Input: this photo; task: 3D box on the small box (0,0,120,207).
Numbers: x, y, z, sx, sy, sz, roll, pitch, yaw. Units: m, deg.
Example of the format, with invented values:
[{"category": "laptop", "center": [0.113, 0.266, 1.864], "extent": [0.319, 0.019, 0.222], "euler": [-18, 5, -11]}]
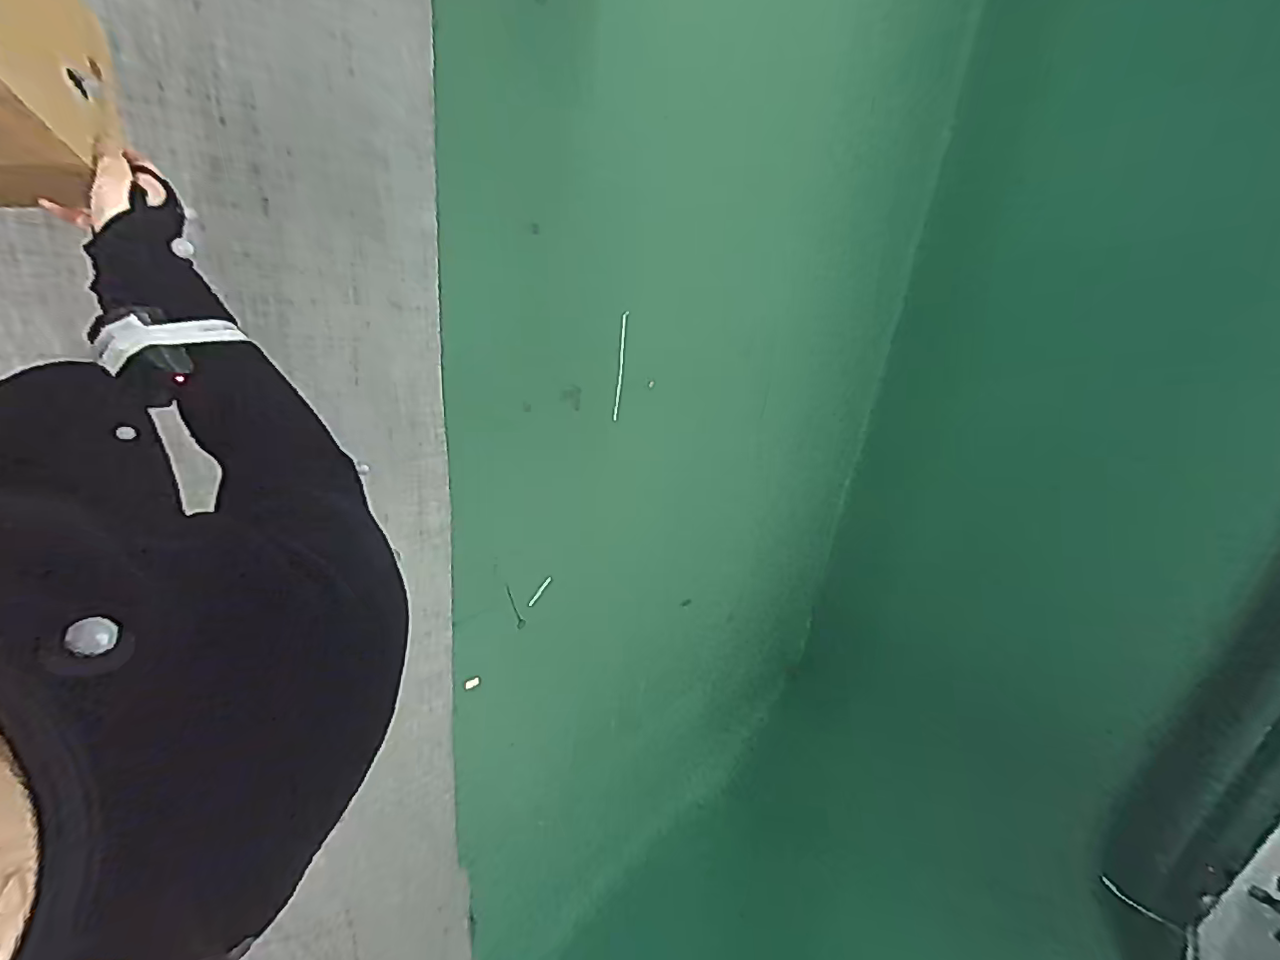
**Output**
[{"category": "small box", "center": [-0.511, -0.305, 0.361], "extent": [0.179, 0.176, 0.168], "euler": [-10, 90, -21]}]
